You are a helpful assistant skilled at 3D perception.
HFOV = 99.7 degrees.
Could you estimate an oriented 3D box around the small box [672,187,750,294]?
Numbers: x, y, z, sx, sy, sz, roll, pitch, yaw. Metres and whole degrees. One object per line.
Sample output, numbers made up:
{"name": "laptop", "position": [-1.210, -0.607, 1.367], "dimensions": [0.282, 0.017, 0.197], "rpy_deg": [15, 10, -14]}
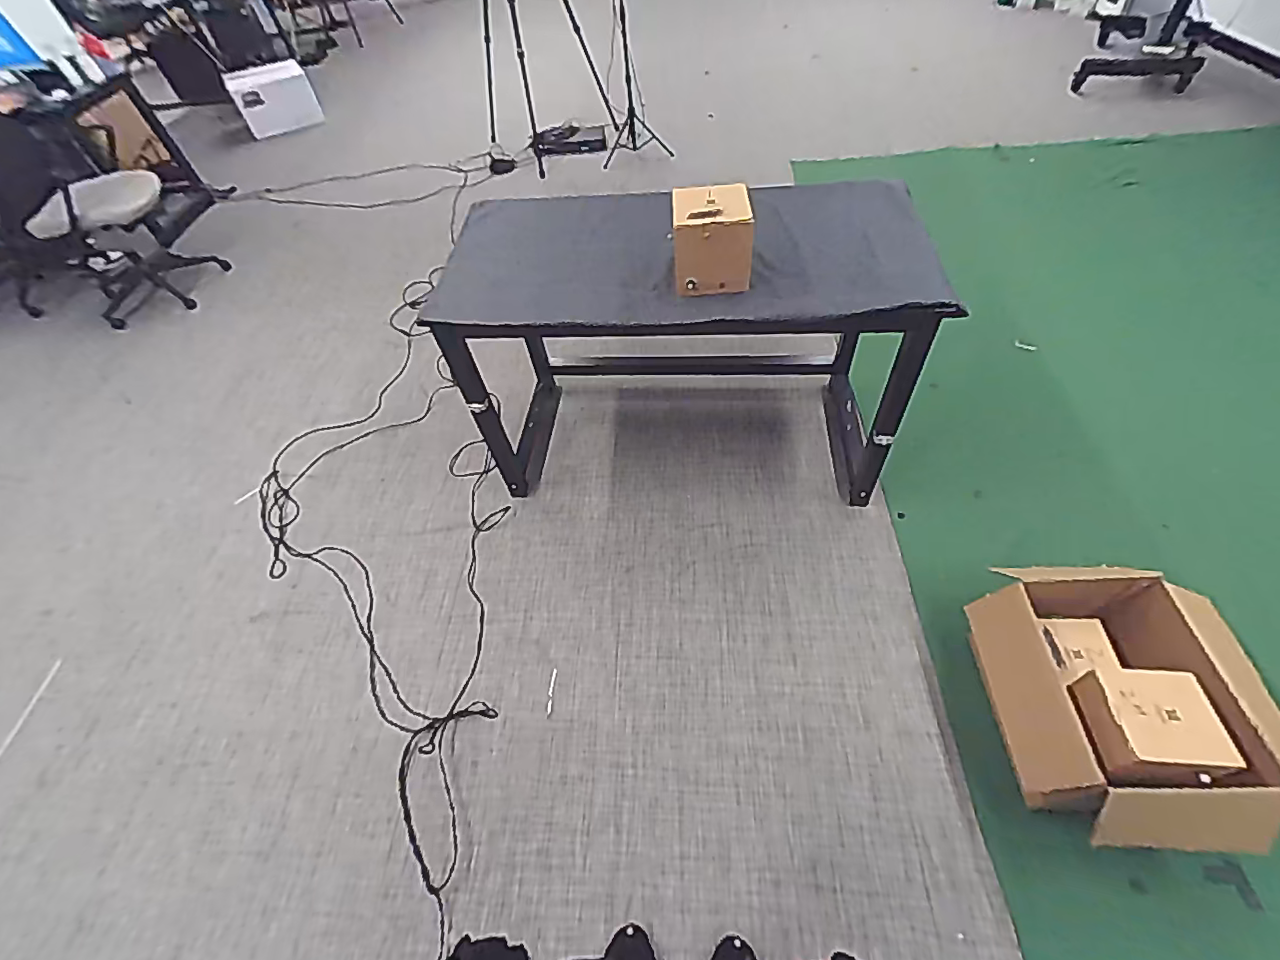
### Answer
{"name": "small box", "position": [0.159, -0.539, 1.233], "dimensions": [0.168, 0.176, 0.179], "rpy_deg": [-2, 50, 5]}
